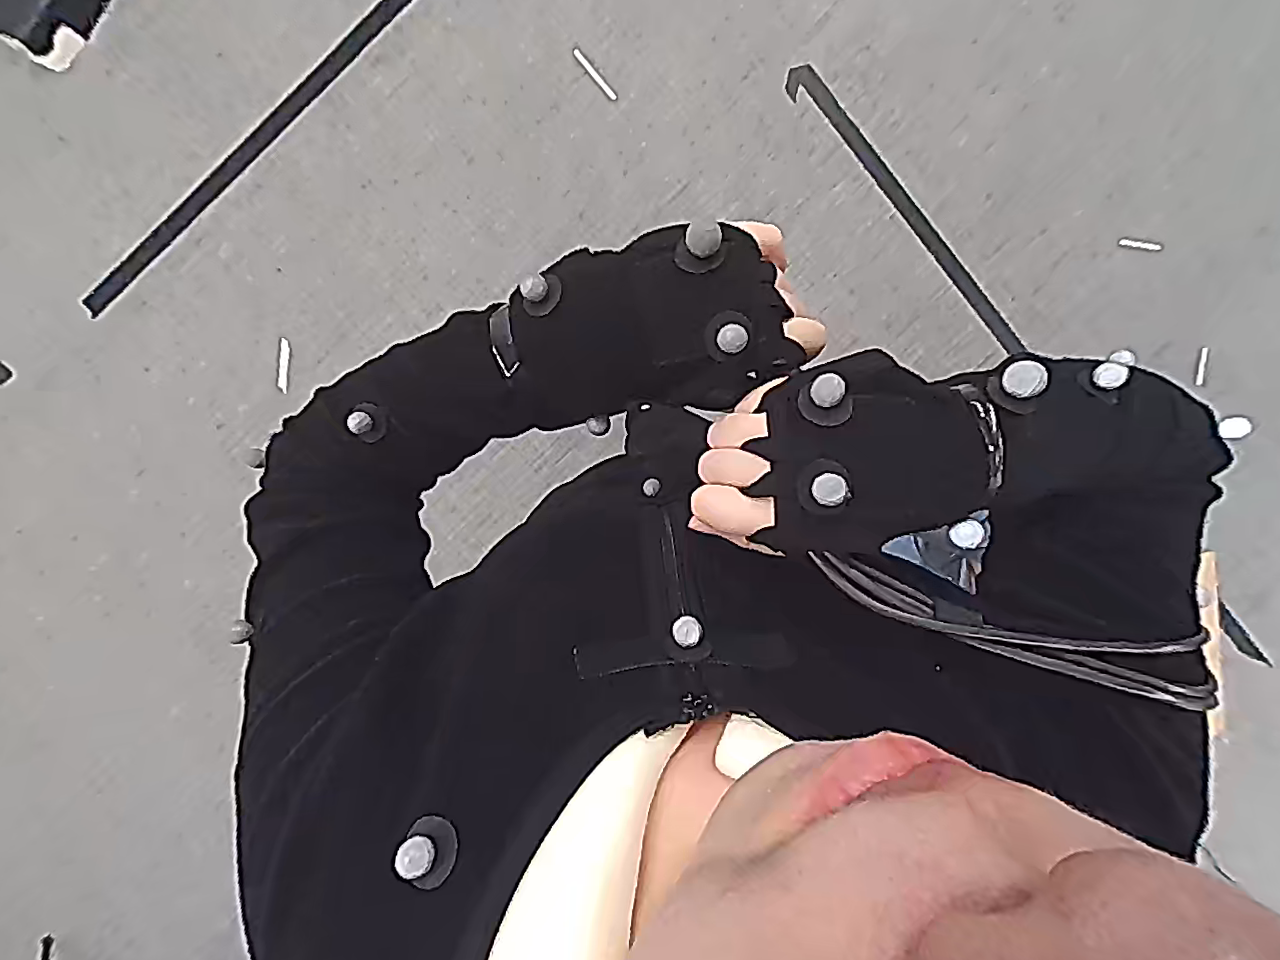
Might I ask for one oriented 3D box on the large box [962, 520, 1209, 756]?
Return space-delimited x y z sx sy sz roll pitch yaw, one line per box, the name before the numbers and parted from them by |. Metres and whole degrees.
large box | 1.005 0.337 1.253 0.320 0.320 0.408 -10 97 -2
